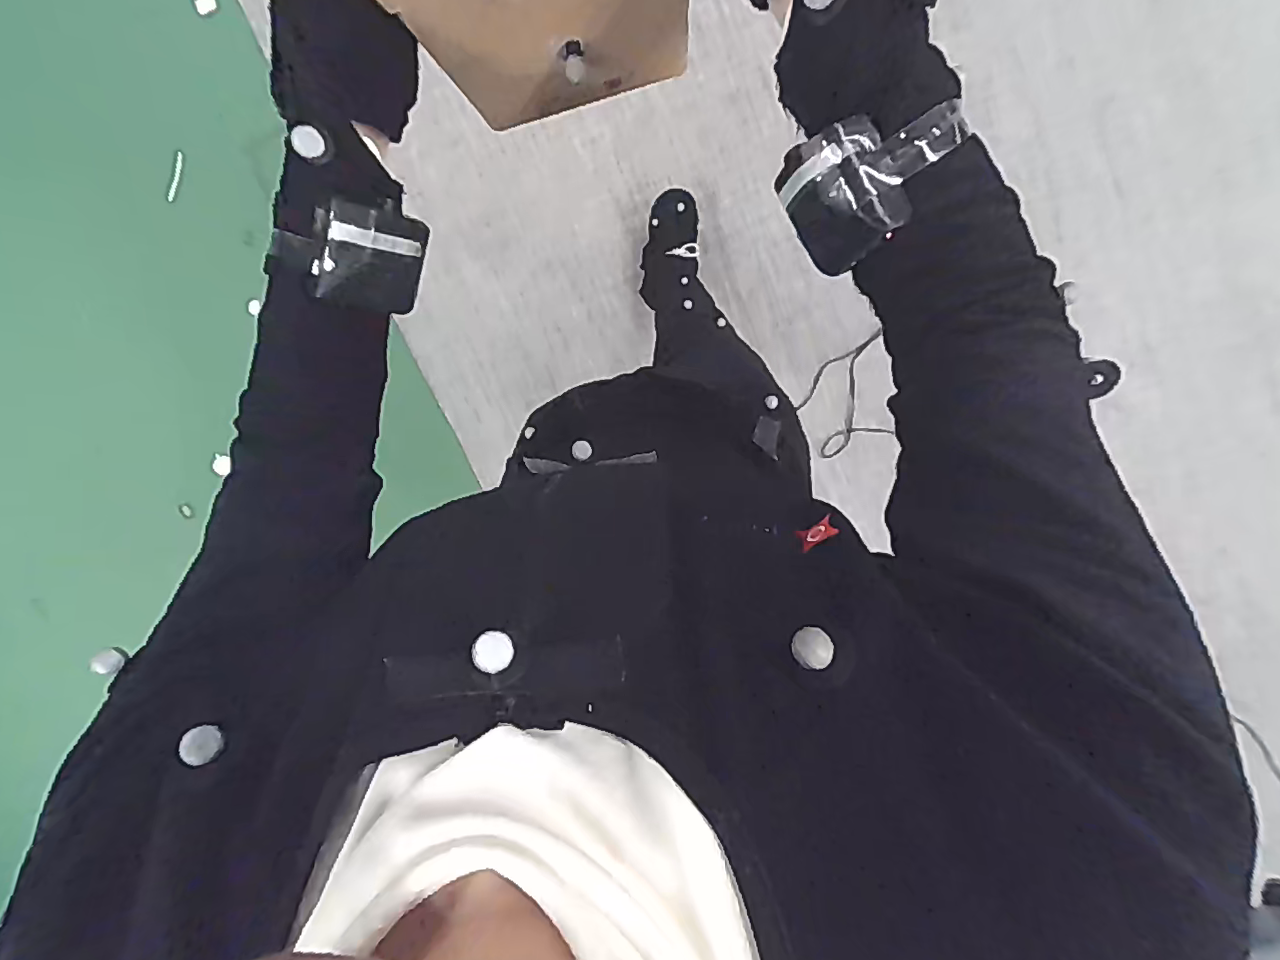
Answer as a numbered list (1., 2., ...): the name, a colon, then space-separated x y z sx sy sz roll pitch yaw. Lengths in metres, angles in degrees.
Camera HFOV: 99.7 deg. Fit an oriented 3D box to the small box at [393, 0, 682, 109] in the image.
1. small box: -0.069 -0.373 0.346 0.168 0.176 0.179 -12 103 8
